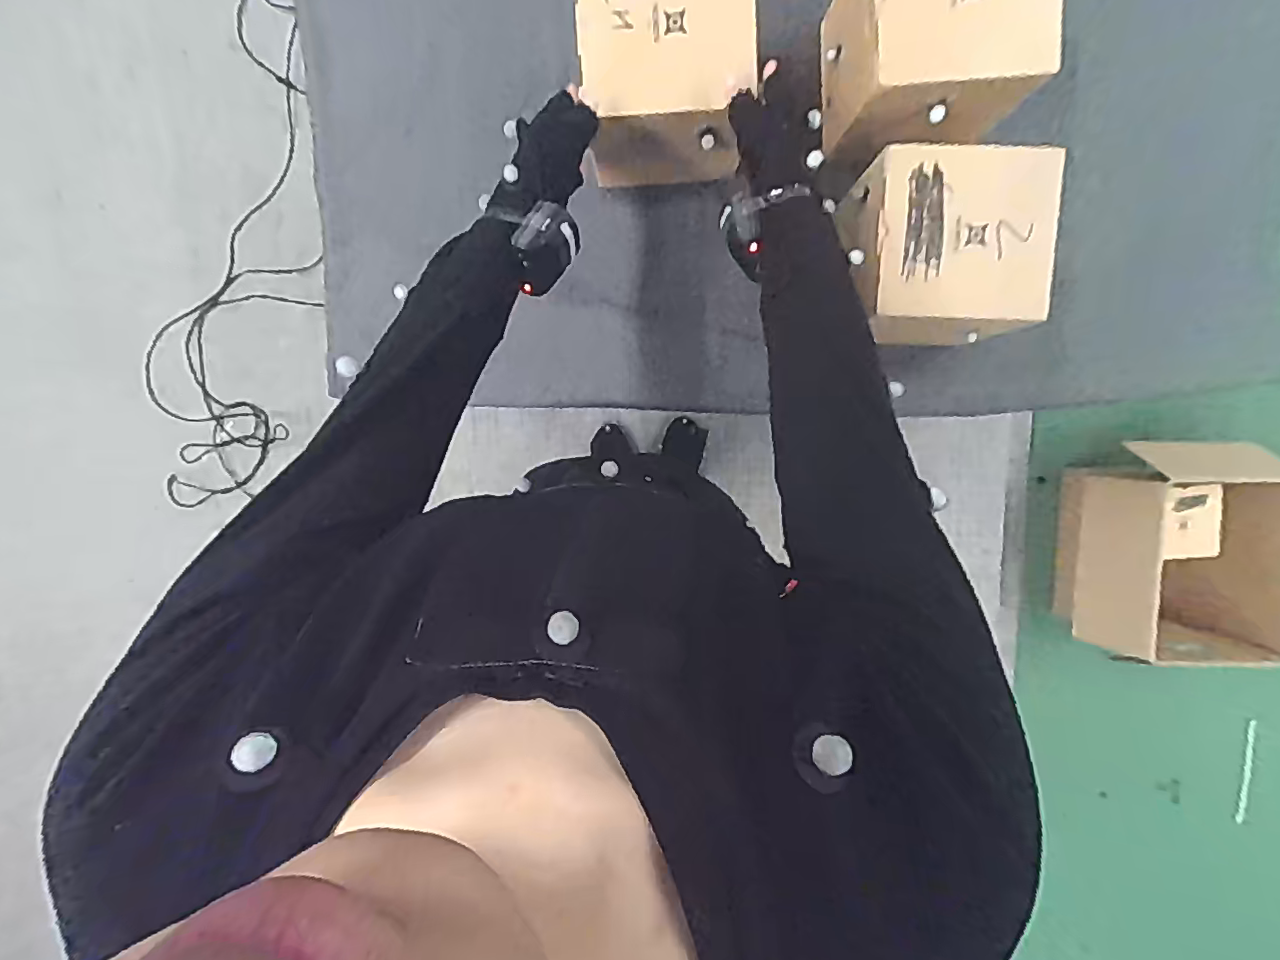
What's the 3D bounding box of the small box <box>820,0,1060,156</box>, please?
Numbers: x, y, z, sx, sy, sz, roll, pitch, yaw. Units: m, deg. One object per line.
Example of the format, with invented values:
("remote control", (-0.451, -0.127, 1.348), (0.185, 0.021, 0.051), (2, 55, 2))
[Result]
("small box", (0.308, -0.478, 0.586), (0.179, 0.176, 0.168), (-3, 98, 3))
